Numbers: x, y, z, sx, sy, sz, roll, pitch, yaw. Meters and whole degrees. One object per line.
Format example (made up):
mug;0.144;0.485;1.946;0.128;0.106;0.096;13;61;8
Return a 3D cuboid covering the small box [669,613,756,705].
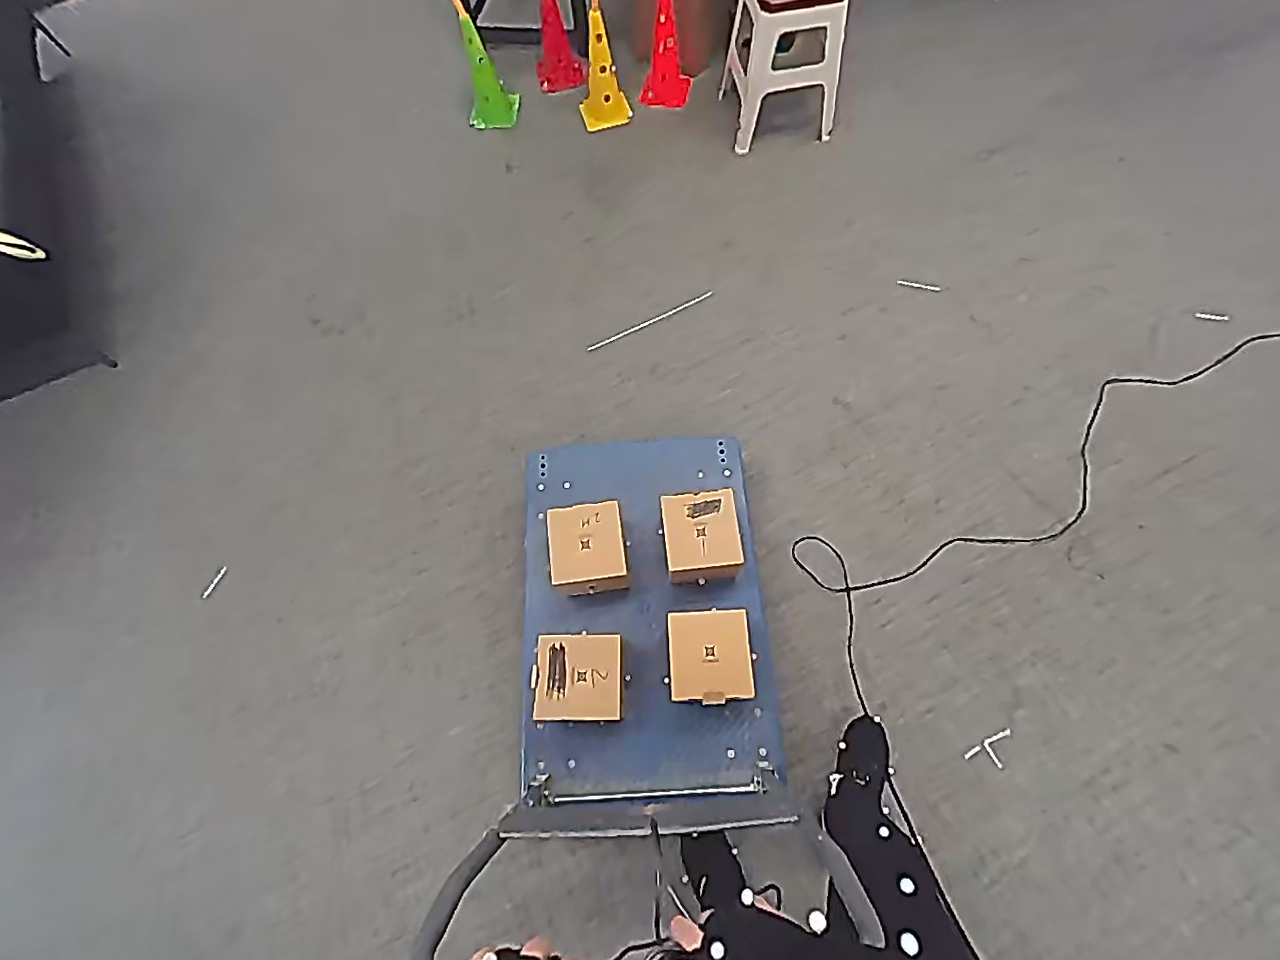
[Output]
small box;0.149;0.390;1.173;0.168;0.176;0.179;-4;70;2

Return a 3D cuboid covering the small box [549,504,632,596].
small box;-0.113;0.173;1.272;0.168;0.176;0.179;-8;68;0

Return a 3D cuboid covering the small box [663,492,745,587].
small box;0.143;0.144;1.266;0.168;0.176;0.179;-6;69;2
